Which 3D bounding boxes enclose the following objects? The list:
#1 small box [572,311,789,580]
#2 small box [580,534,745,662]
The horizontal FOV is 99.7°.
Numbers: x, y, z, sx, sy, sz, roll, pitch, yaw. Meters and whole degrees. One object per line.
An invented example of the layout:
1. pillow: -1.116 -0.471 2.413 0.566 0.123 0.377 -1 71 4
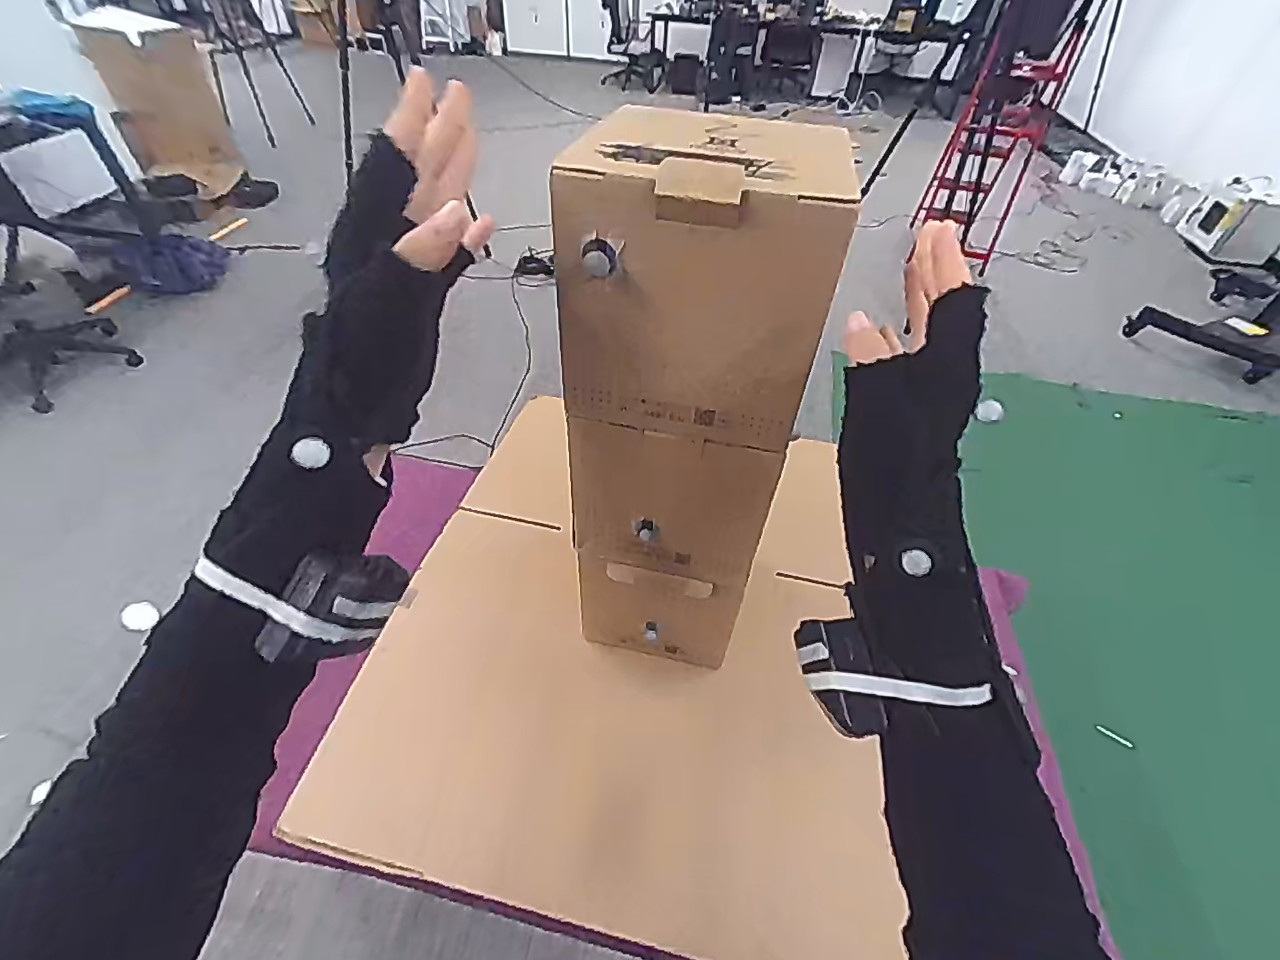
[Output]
1. small box: 0.039 -0.035 0.518 0.168 0.176 0.179 11 45 7
2. small box: 0.034 0.081 0.634 0.168 0.176 0.179 10 45 8
